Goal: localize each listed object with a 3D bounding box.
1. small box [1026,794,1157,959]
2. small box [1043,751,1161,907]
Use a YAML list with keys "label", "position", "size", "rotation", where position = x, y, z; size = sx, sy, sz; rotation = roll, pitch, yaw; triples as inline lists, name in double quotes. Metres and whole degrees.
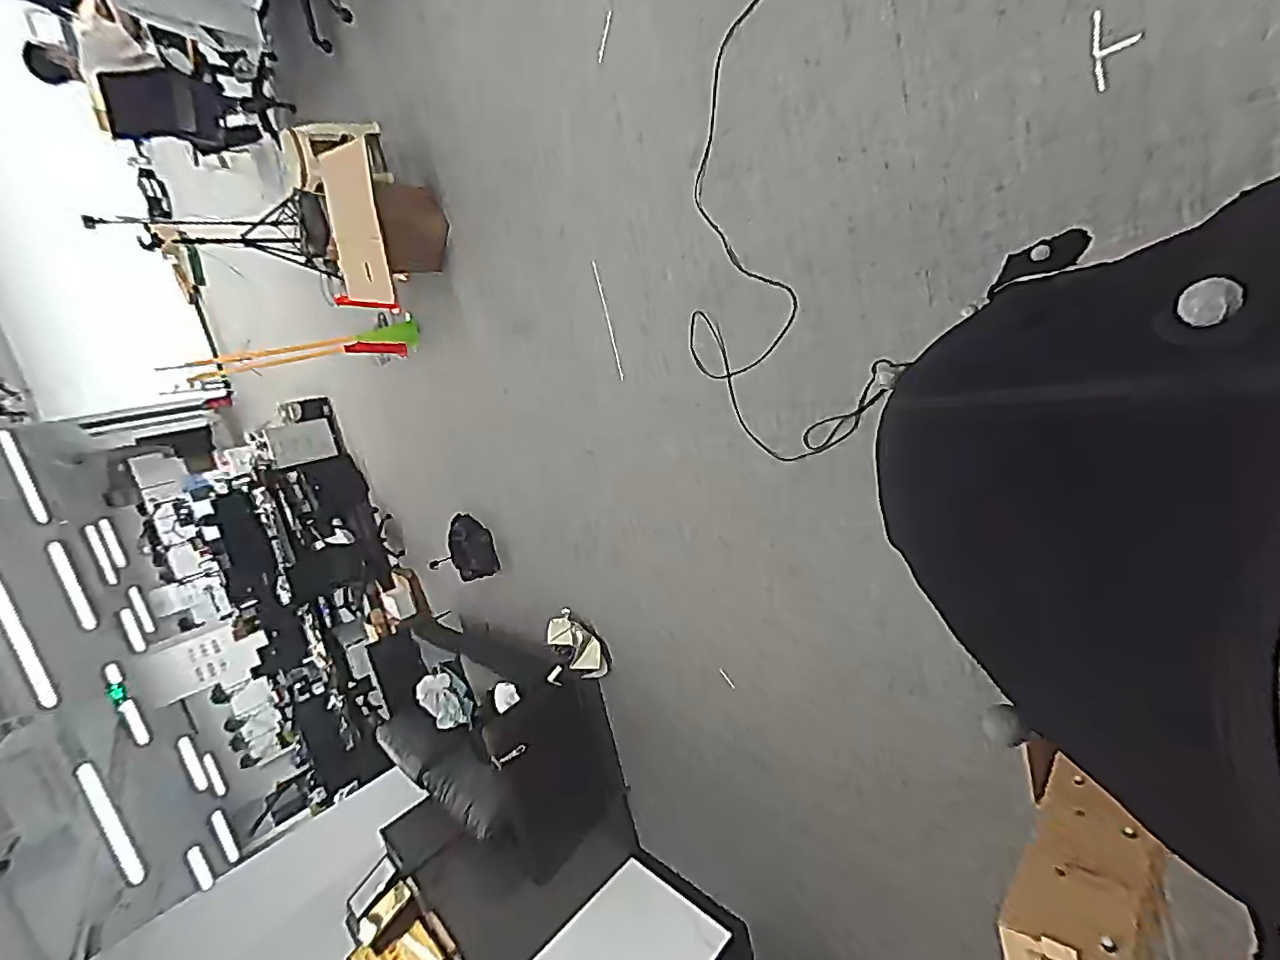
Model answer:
- label: "small box"
  position: [0.840, 0.732, 1.005]
  size: [0.168, 0.176, 0.179]
  rotation: [-2, 105, 48]
- label: "small box"
  position: [0.943, 0.696, 1.104]
  size: [0.168, 0.176, 0.179]
  rotation: [-4, 104, 47]
